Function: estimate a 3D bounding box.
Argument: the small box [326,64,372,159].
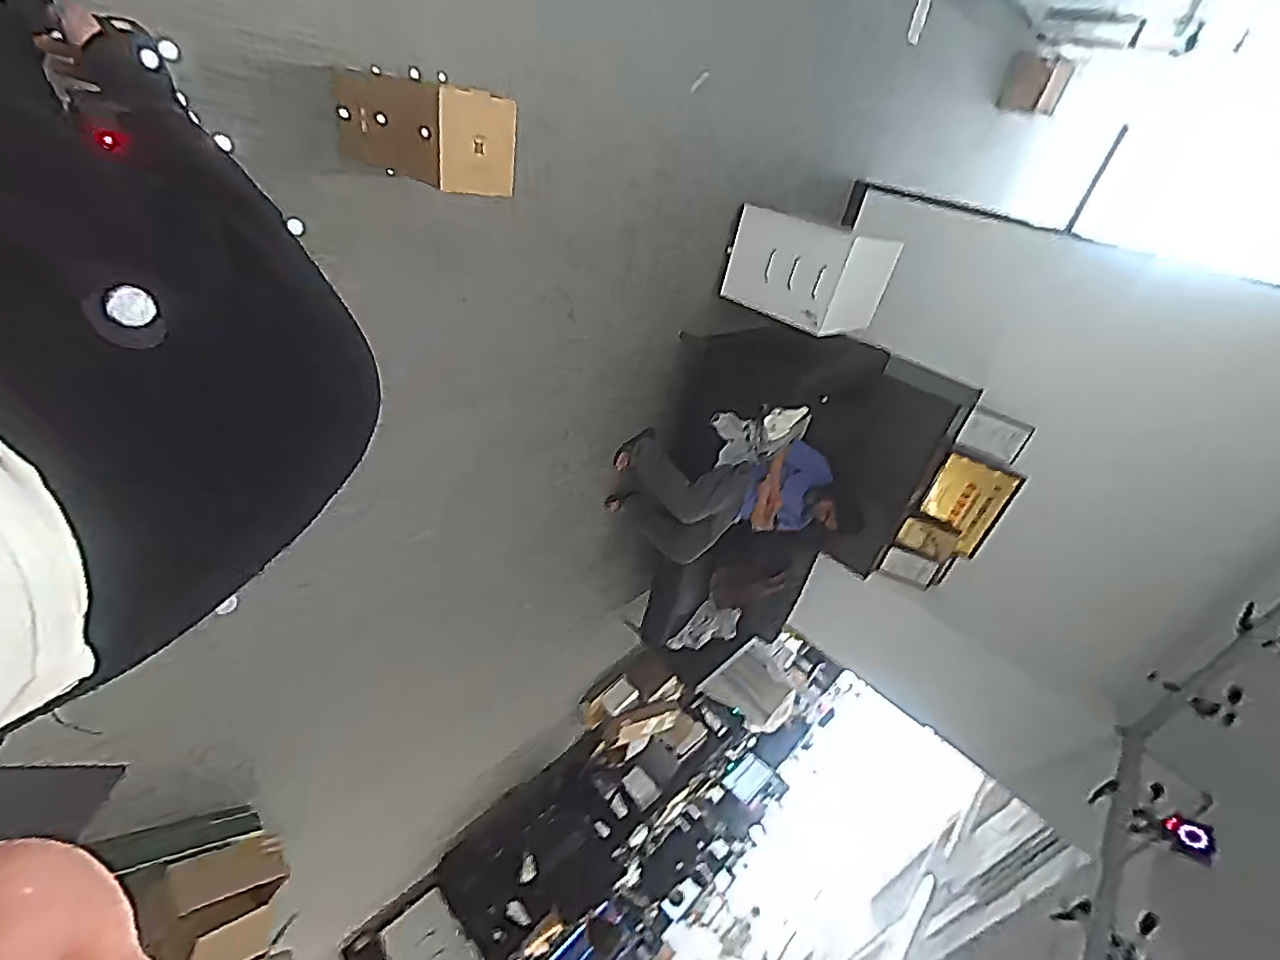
[{"bbox_3d":[-0.612,-0.853,1.266,0.179,0.176,0.168,-23,138,-42],"label":"small box"}]

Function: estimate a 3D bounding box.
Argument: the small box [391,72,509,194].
[{"bbox_3d":[-0.384,-0.698,1.091,0.168,0.176,0.179,-23,139,-41],"label":"small box"}]

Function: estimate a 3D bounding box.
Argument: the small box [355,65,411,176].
[{"bbox_3d":[-0.496,-0.775,1.178,0.168,0.176,0.179,-25,138,-41],"label":"small box"}]
